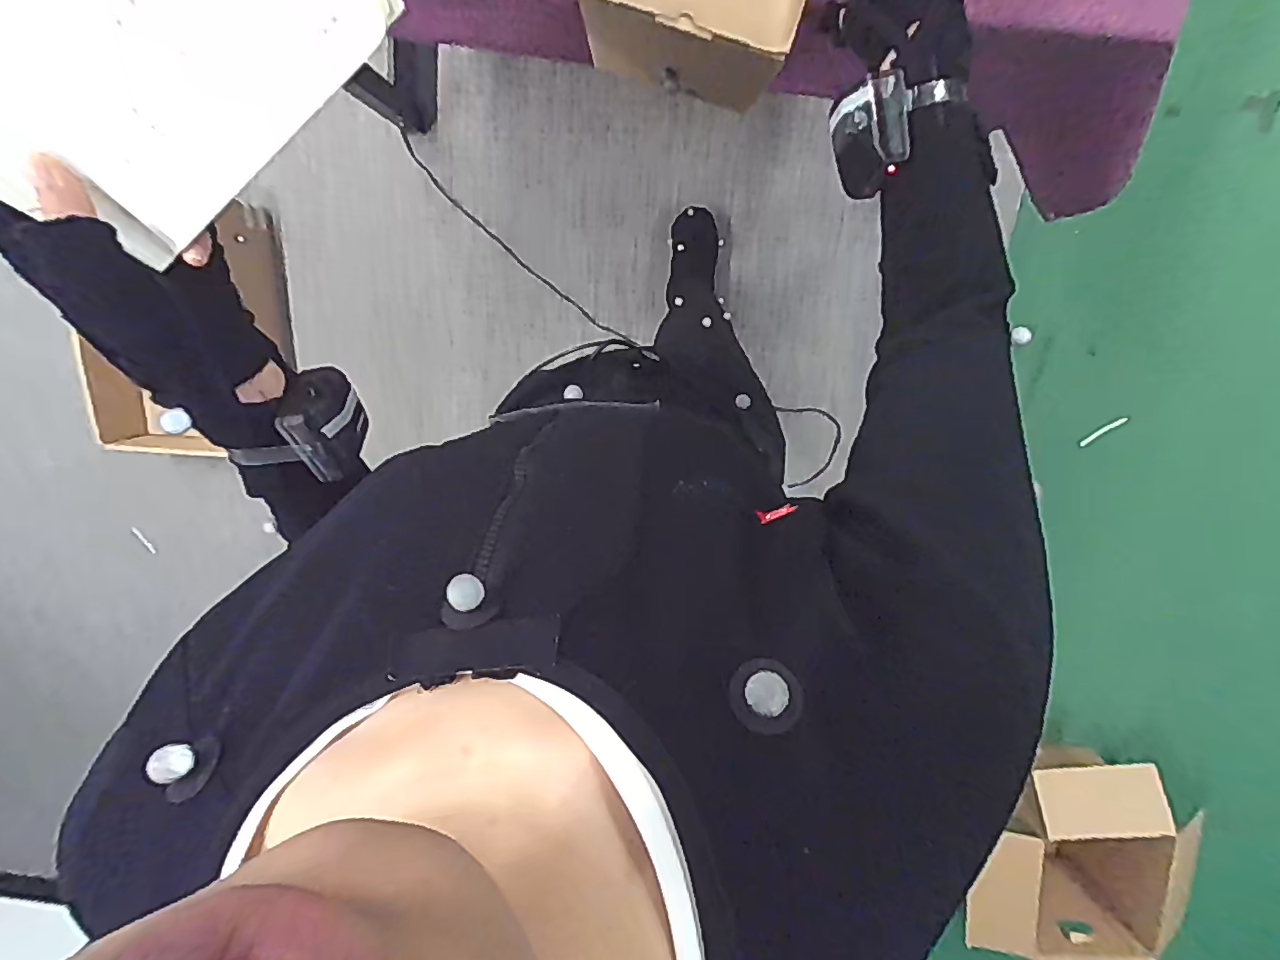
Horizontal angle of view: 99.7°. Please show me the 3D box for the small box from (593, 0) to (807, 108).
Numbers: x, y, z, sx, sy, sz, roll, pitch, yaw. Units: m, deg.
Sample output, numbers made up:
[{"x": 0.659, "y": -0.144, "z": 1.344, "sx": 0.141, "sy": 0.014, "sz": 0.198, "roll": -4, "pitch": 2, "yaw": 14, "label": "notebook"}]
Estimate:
[{"x": 0.056, "y": -0.447, "z": 0.444, "sx": 0.168, "sy": 0.176, "sz": 0.179, "roll": 14, "pitch": 112, "yaw": -6, "label": "small box"}]
